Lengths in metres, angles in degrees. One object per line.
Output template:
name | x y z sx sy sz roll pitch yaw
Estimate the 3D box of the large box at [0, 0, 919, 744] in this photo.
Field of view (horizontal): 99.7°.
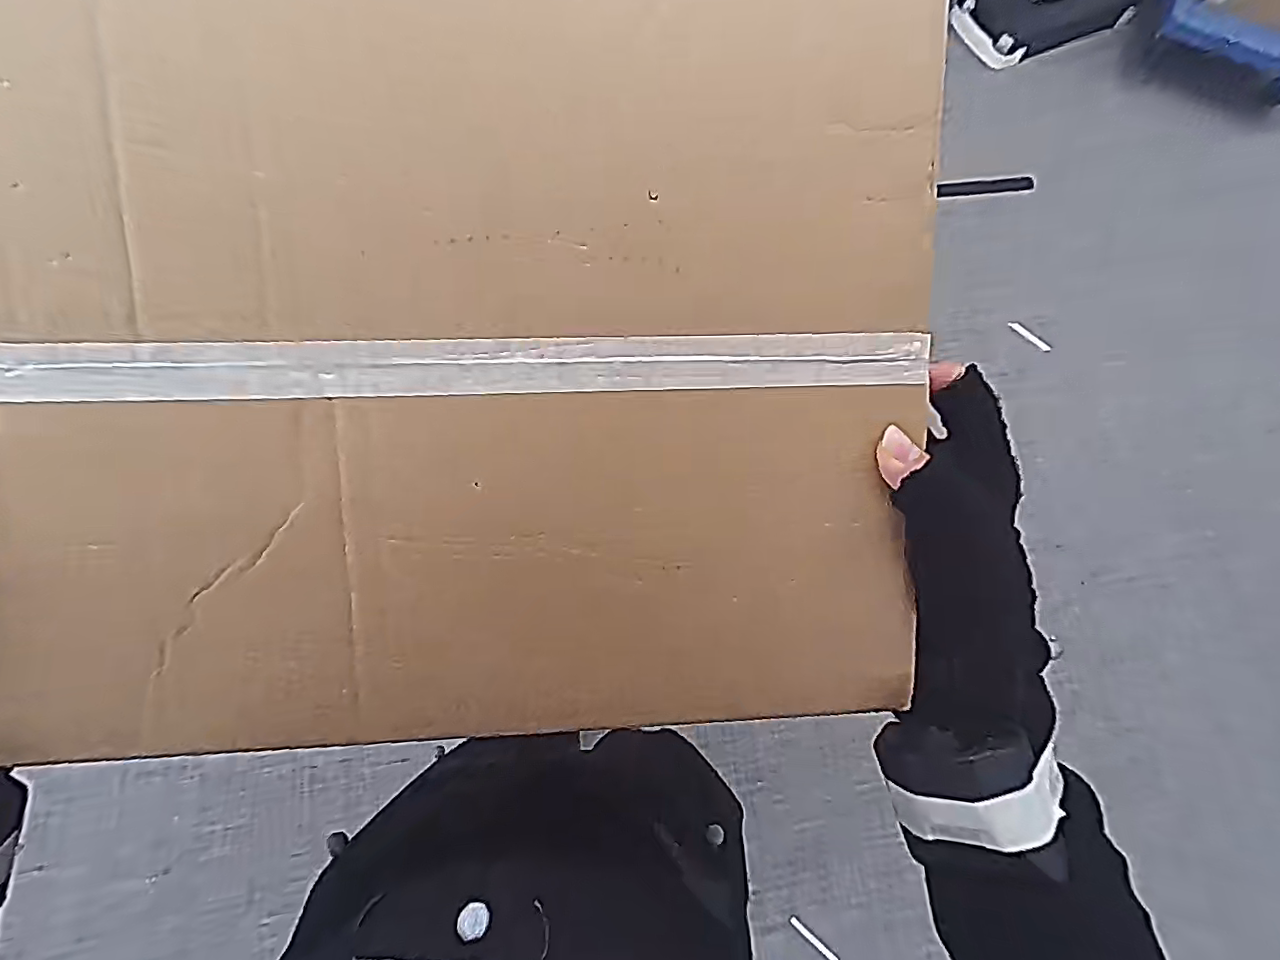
large box | -0.092 -0.065 0.371 0.408 0.320 0.320 -1 97 -5
